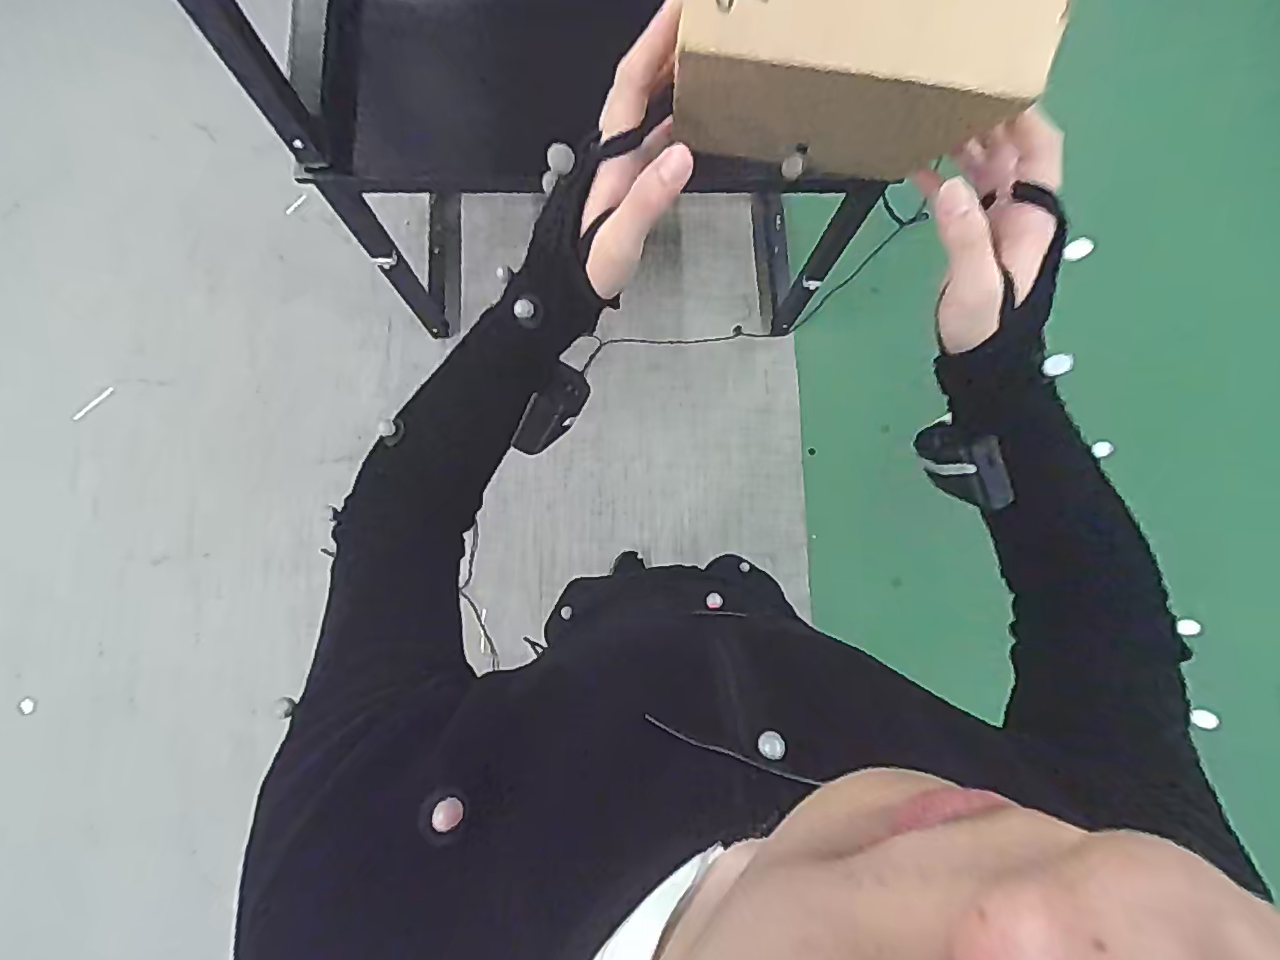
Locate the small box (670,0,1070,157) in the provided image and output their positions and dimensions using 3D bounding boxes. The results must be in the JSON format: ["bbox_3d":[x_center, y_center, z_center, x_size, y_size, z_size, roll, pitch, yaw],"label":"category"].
[{"bbox_3d":[0.116,-0.297,0.298,0.179,0.176,0.168,9,108,-1],"label":"small box"}]
